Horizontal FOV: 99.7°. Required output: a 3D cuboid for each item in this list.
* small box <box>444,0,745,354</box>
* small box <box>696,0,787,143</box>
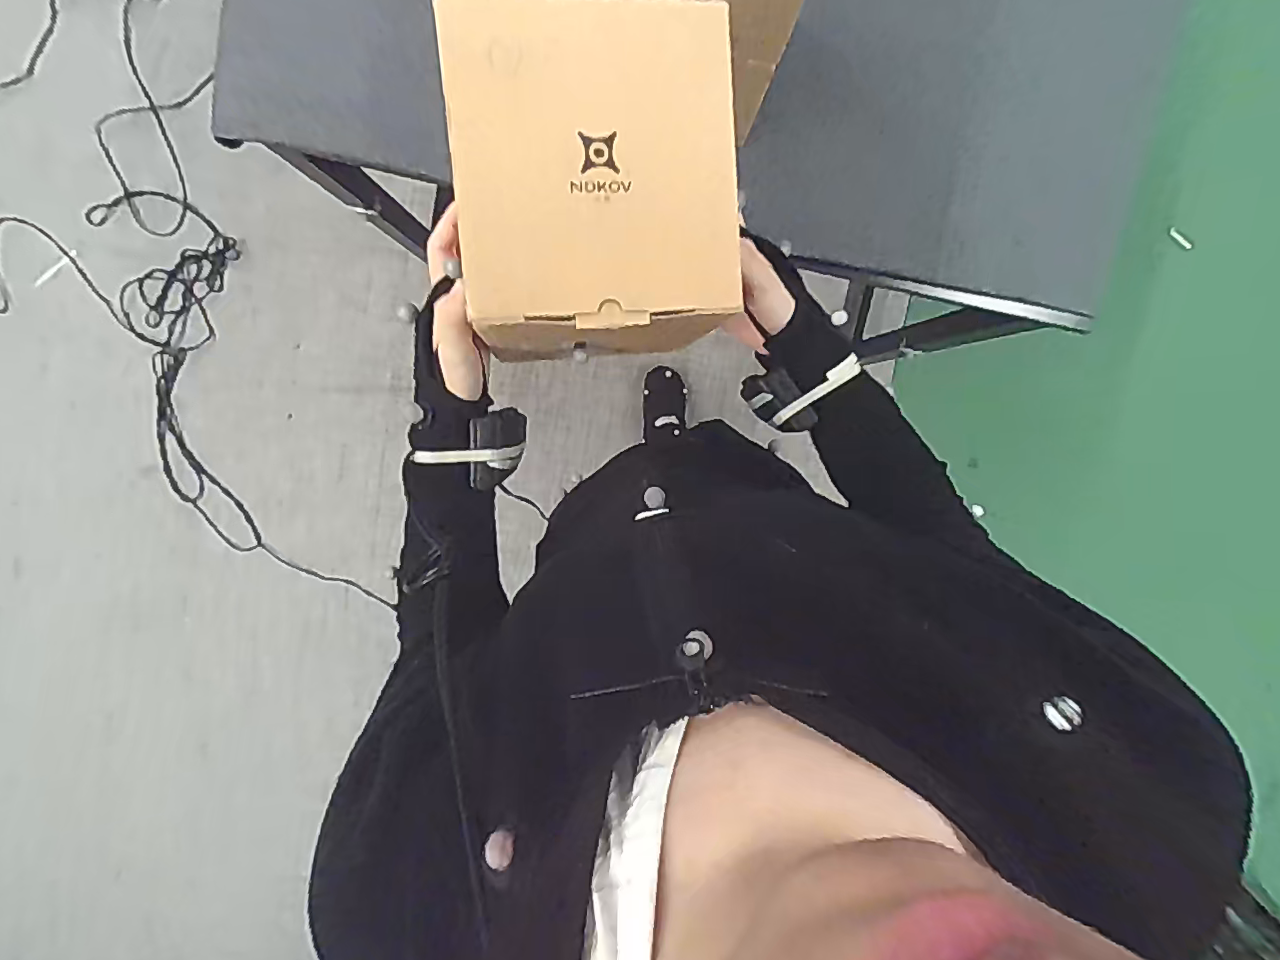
[{"bbox_3d":[-0.035,-0.193,0.389,0.168,0.176,0.179,-6,98,-9],"label":"small box"},{"bbox_3d":[0.069,-0.525,0.621,0.168,0.176,0.179,10,96,-3],"label":"small box"}]
